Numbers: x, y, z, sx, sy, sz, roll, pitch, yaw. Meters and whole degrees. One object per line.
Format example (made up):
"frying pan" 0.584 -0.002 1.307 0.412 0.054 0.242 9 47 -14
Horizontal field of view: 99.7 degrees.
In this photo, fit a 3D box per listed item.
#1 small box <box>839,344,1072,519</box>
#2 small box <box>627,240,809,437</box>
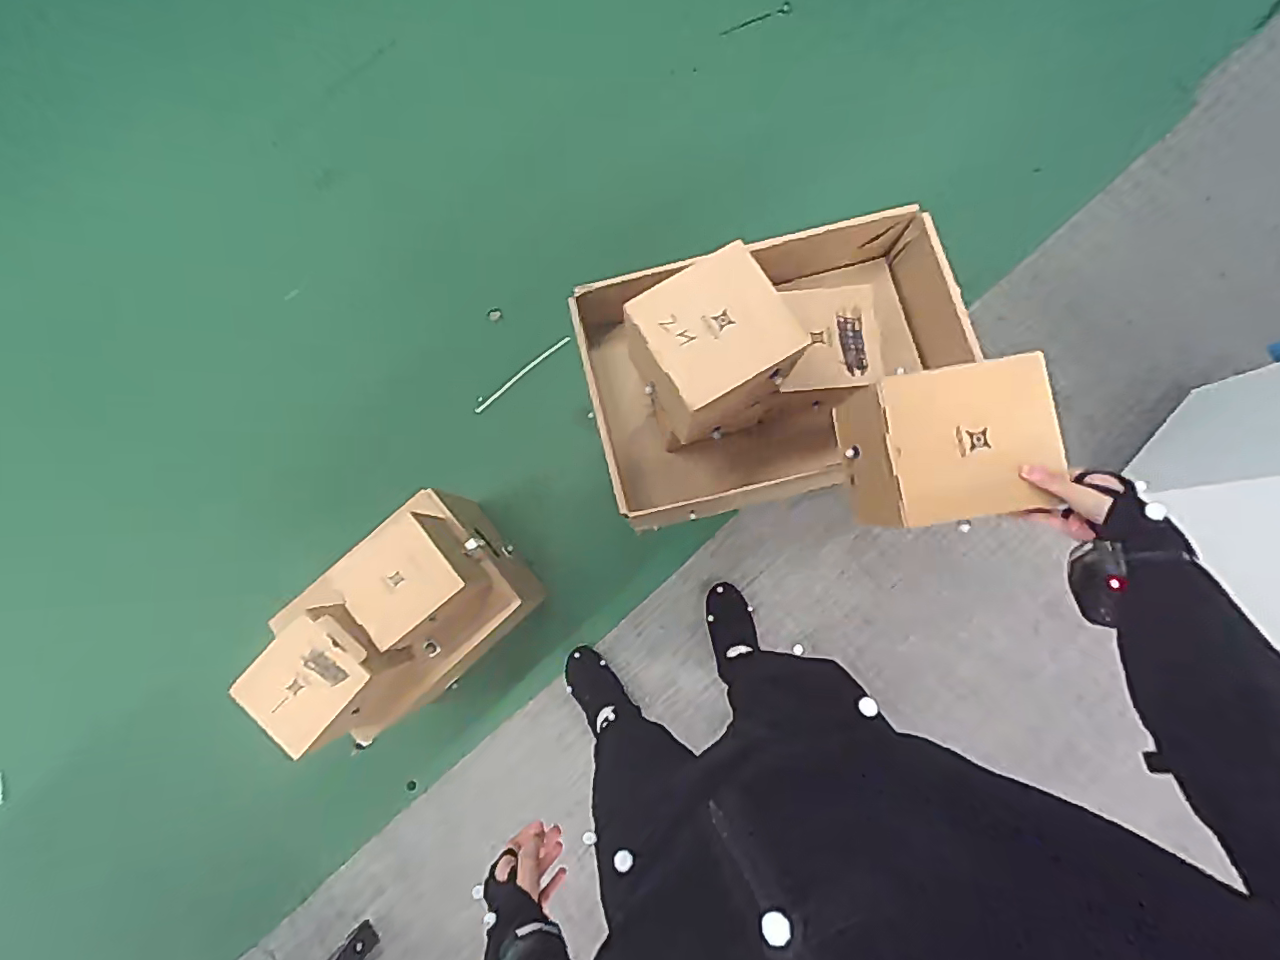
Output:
"small box" 0.362 -0.049 0.653 0.179 0.176 0.168 -9 87 5
"small box" 0.096 -0.183 0.747 0.179 0.176 0.168 -30 81 -4
